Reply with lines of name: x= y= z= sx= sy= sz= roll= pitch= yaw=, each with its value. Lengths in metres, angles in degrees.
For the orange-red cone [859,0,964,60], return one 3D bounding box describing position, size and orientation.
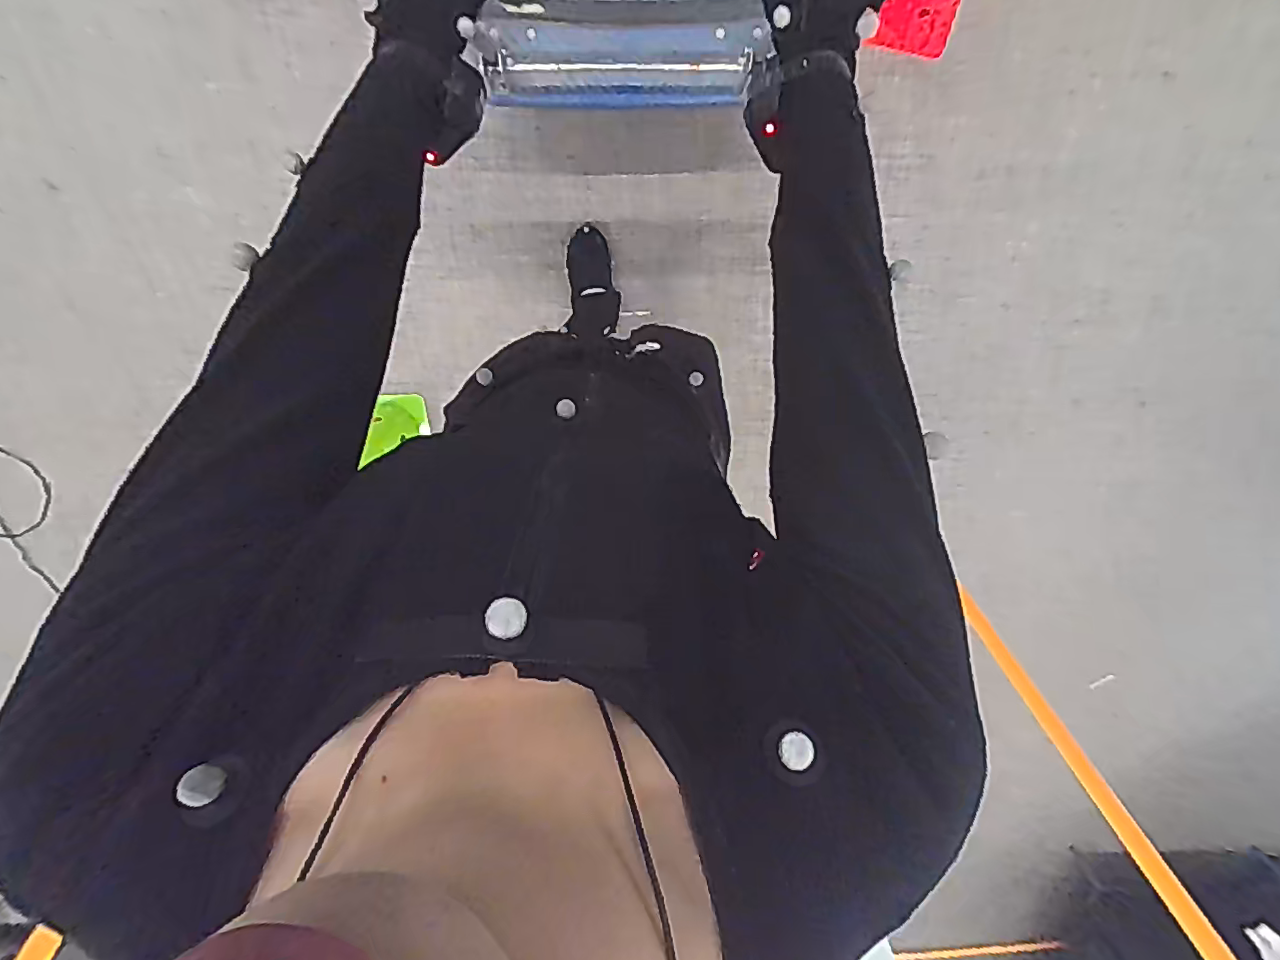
orange-red cone: x=0.573 y=-0.931 z=0.962 sx=0.198 sy=0.360 sz=0.199 roll=10 pitch=115 yaw=-5
